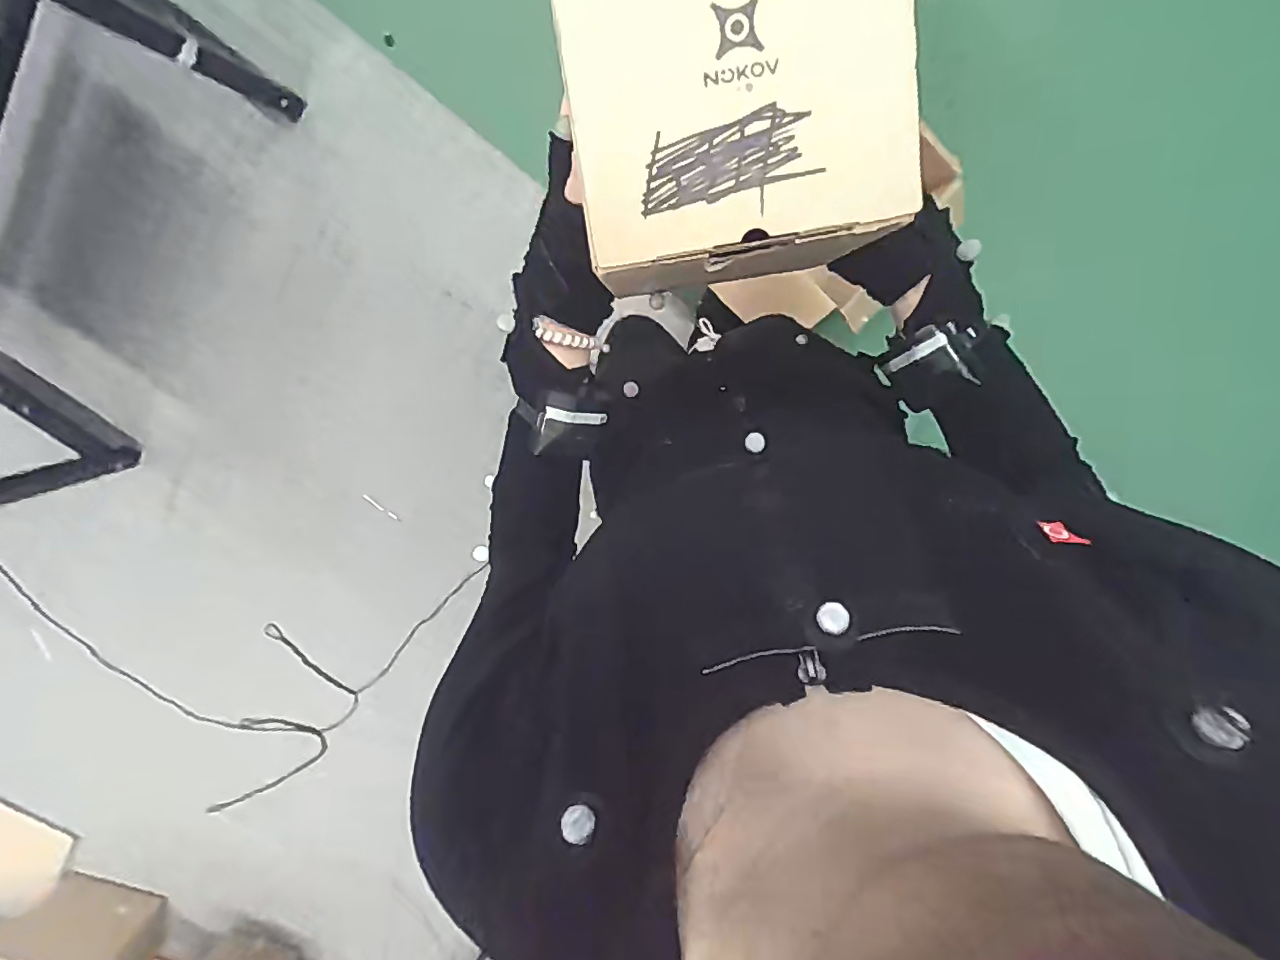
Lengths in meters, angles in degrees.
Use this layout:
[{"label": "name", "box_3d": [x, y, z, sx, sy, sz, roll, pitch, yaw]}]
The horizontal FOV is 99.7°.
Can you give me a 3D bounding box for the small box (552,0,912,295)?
[{"label": "small box", "box_3d": [0.047, -0.218, 0.335, 0.168, 0.176, 0.179, -9, 103, 3]}]
